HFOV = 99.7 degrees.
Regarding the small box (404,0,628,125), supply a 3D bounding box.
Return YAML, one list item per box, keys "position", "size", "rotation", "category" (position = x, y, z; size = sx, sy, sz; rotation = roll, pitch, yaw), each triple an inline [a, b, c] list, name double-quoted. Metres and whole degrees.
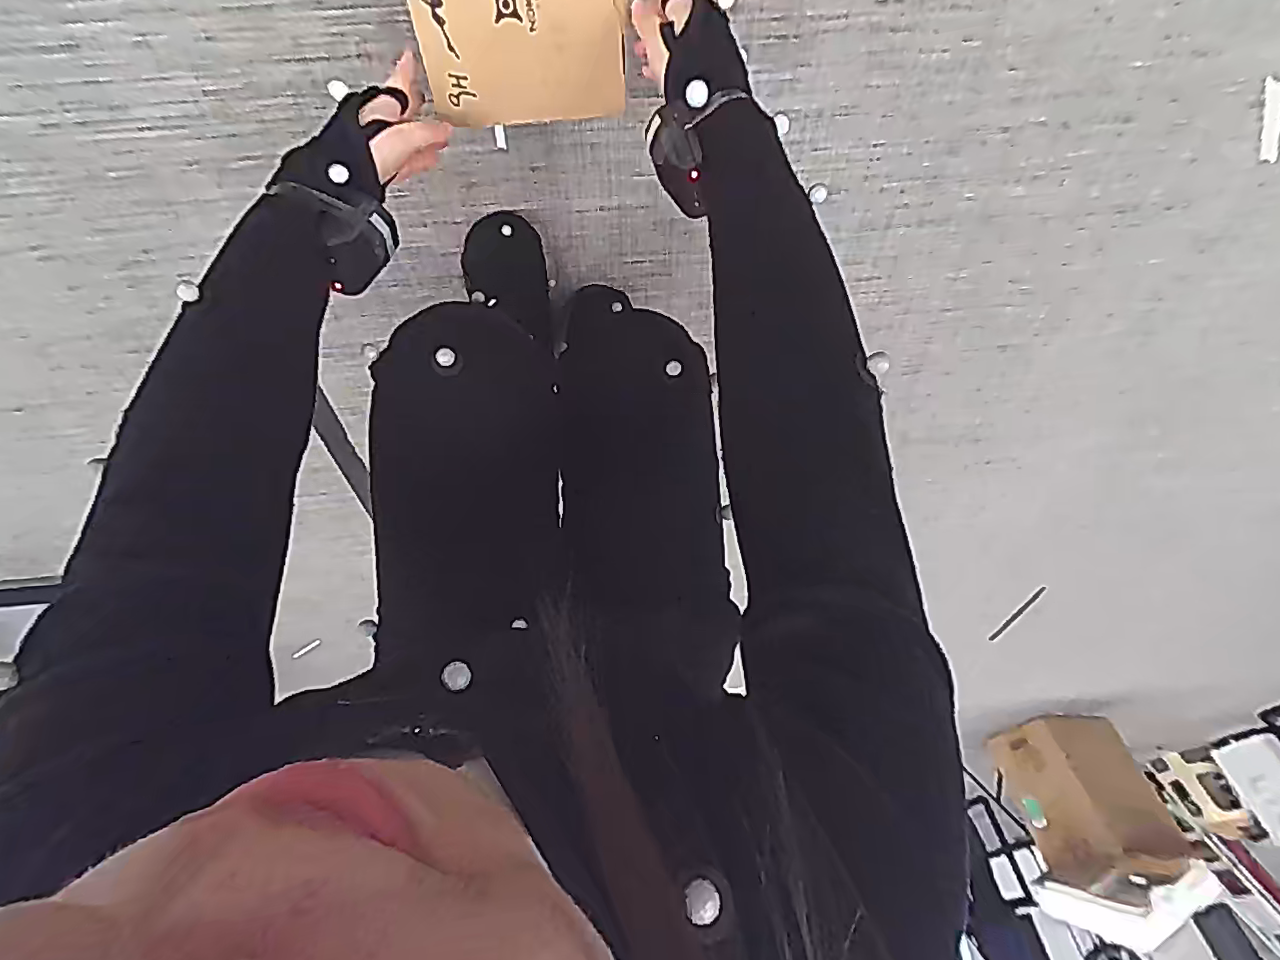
- position: [-0.109, -0.441, 0.482]
  size: [0.179, 0.176, 0.168]
  rotation: [-6, 139, -3]
  category: "small box"
